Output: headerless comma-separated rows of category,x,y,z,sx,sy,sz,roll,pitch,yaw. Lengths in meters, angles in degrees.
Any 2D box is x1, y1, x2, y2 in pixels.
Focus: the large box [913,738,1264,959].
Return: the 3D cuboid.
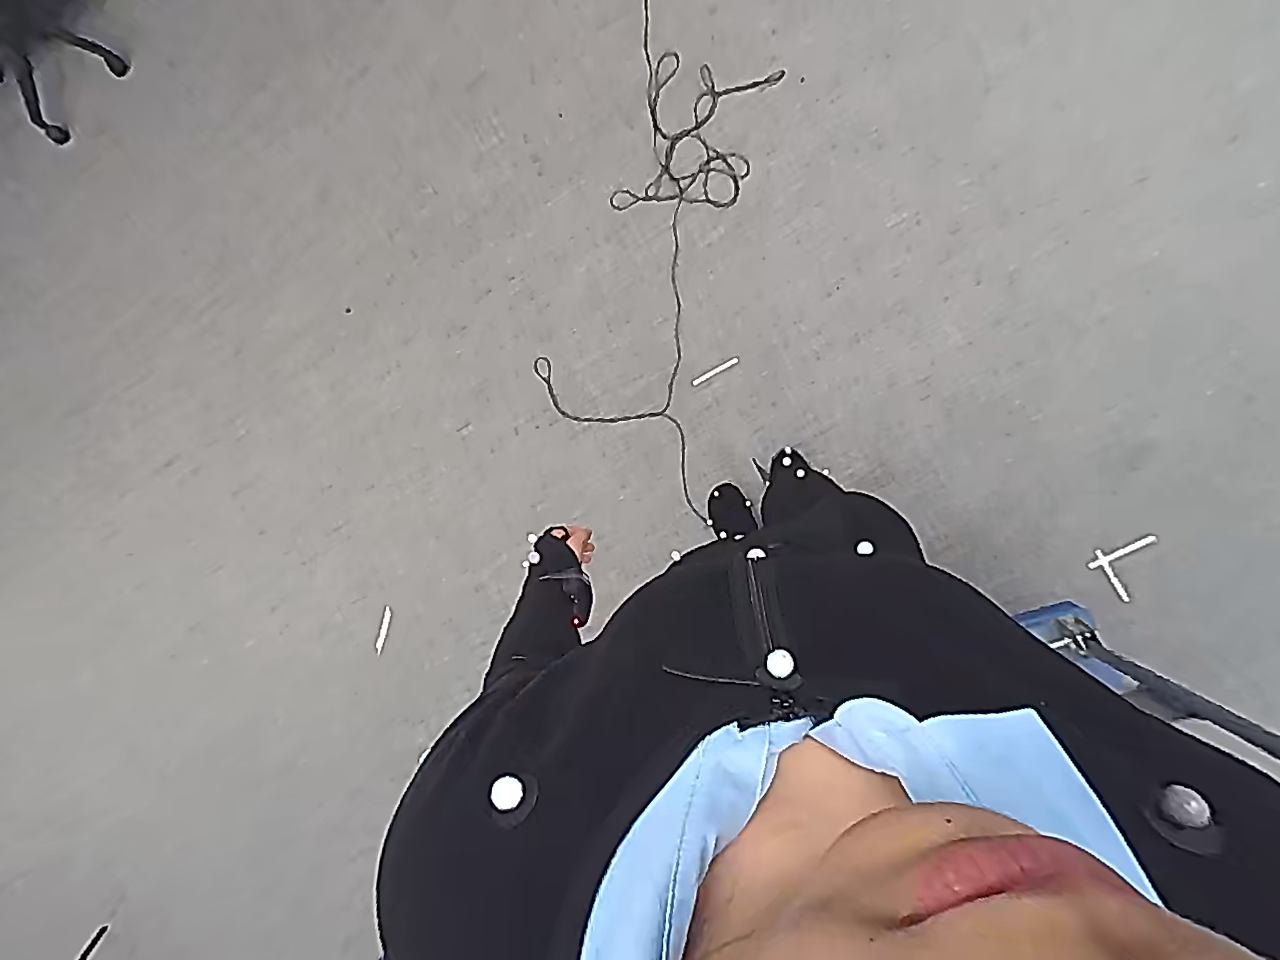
large box,0.840,0.778,1.073,0.408,0.320,0.320,-23,87,11
